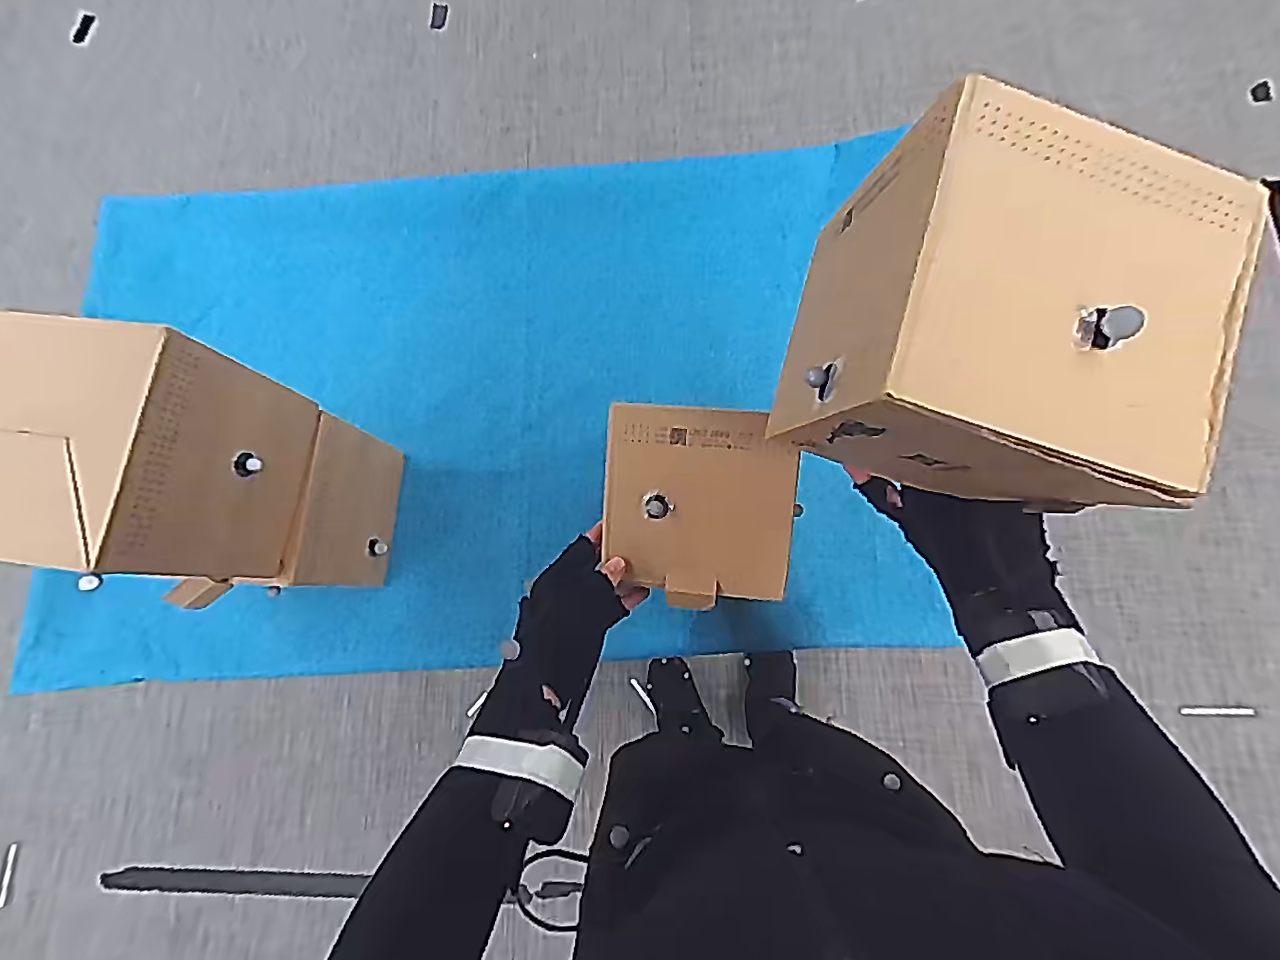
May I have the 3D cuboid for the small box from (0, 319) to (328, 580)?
[{"bbox_3d":[-0.408,-0.013,0.456,0.168,0.176,0.179,6,80,6],"label":"small box"}]

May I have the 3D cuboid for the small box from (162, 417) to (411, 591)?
[{"bbox_3d":[-0.389,0.032,0.613,0.168,0.176,0.179,2,79,4],"label":"small box"}]

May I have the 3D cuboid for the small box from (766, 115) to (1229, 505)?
[{"bbox_3d":[0.208,-0.087,0.348,0.179,0.168,0.176,15,86,-6],"label":"small box"}]
